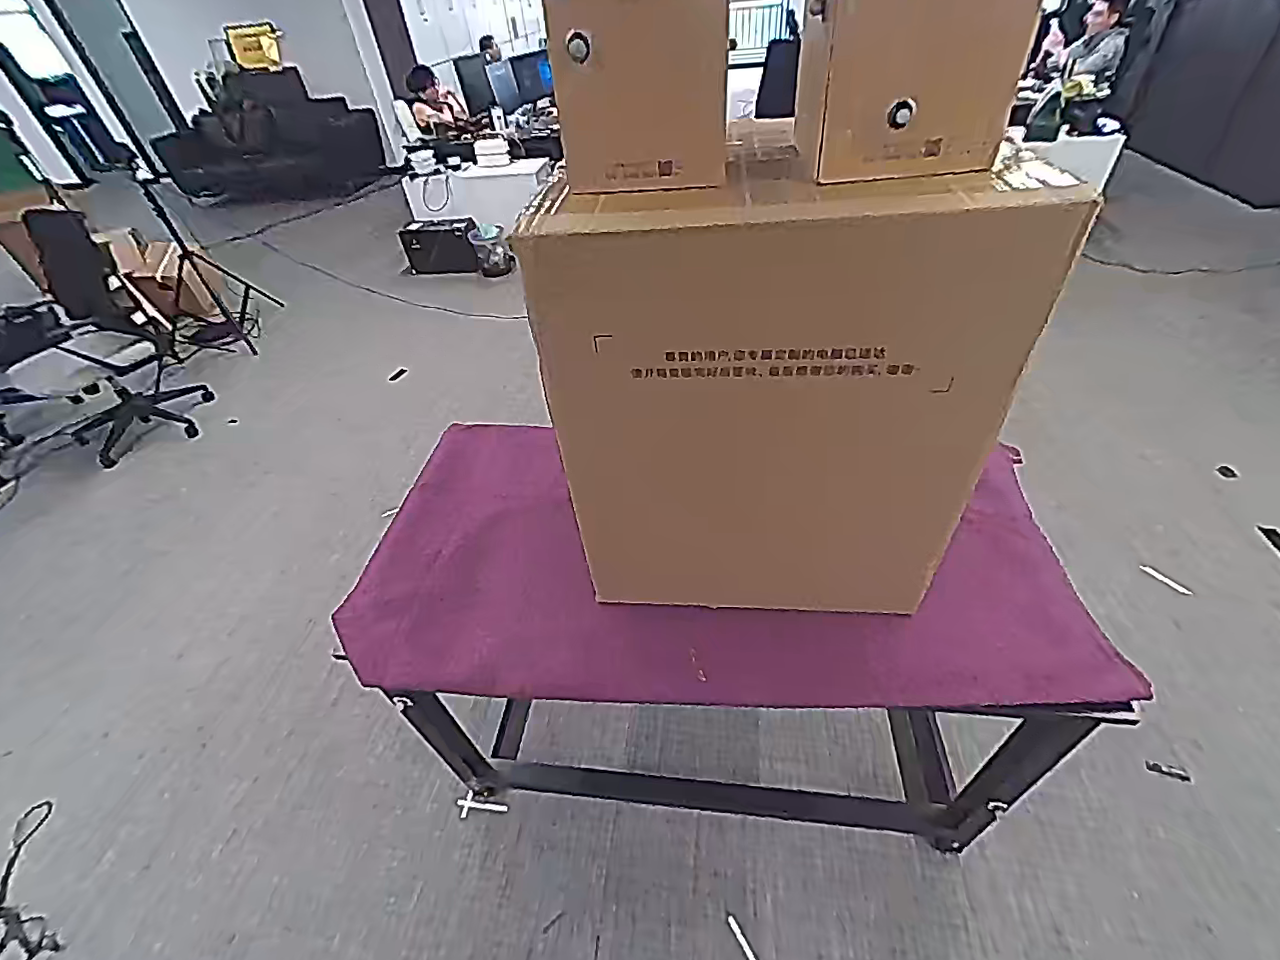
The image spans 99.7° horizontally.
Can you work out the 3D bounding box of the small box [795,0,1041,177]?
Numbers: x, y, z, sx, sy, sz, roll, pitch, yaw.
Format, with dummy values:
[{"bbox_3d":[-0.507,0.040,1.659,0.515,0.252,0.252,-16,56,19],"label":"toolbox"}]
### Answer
[{"bbox_3d":[0.254,-0.416,0.534,0.168,0.176,0.179,-2,43,7],"label":"small box"}]
